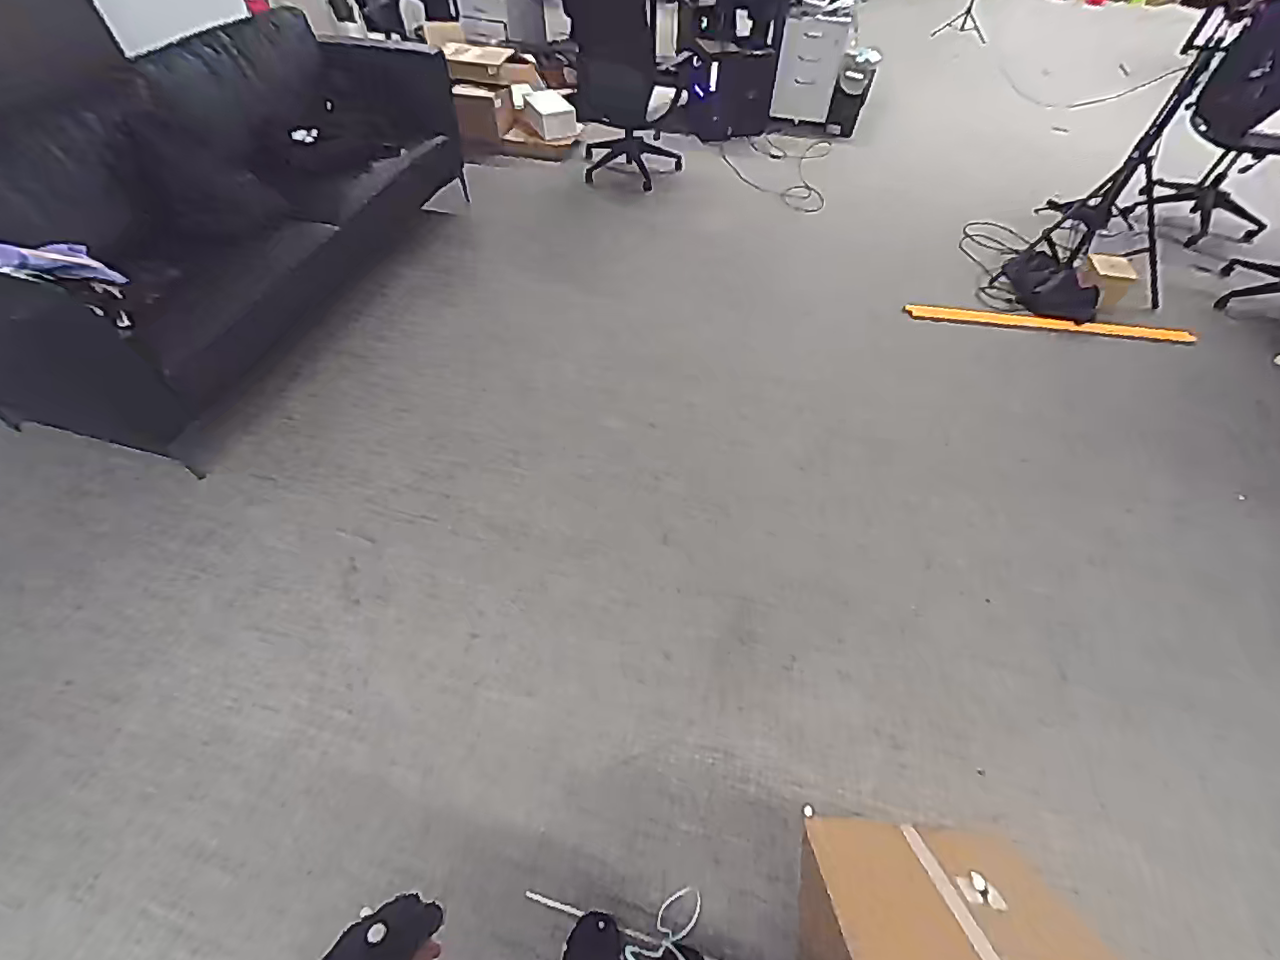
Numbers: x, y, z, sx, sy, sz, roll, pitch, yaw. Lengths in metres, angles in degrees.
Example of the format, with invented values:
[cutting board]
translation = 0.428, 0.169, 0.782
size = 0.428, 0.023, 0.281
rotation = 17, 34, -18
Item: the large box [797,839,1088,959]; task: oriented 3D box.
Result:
[large box]
translation = 0.390, 0.728, 0.656
size = 0.320, 0.408, 0.320
rotation = 3, 90, 4
